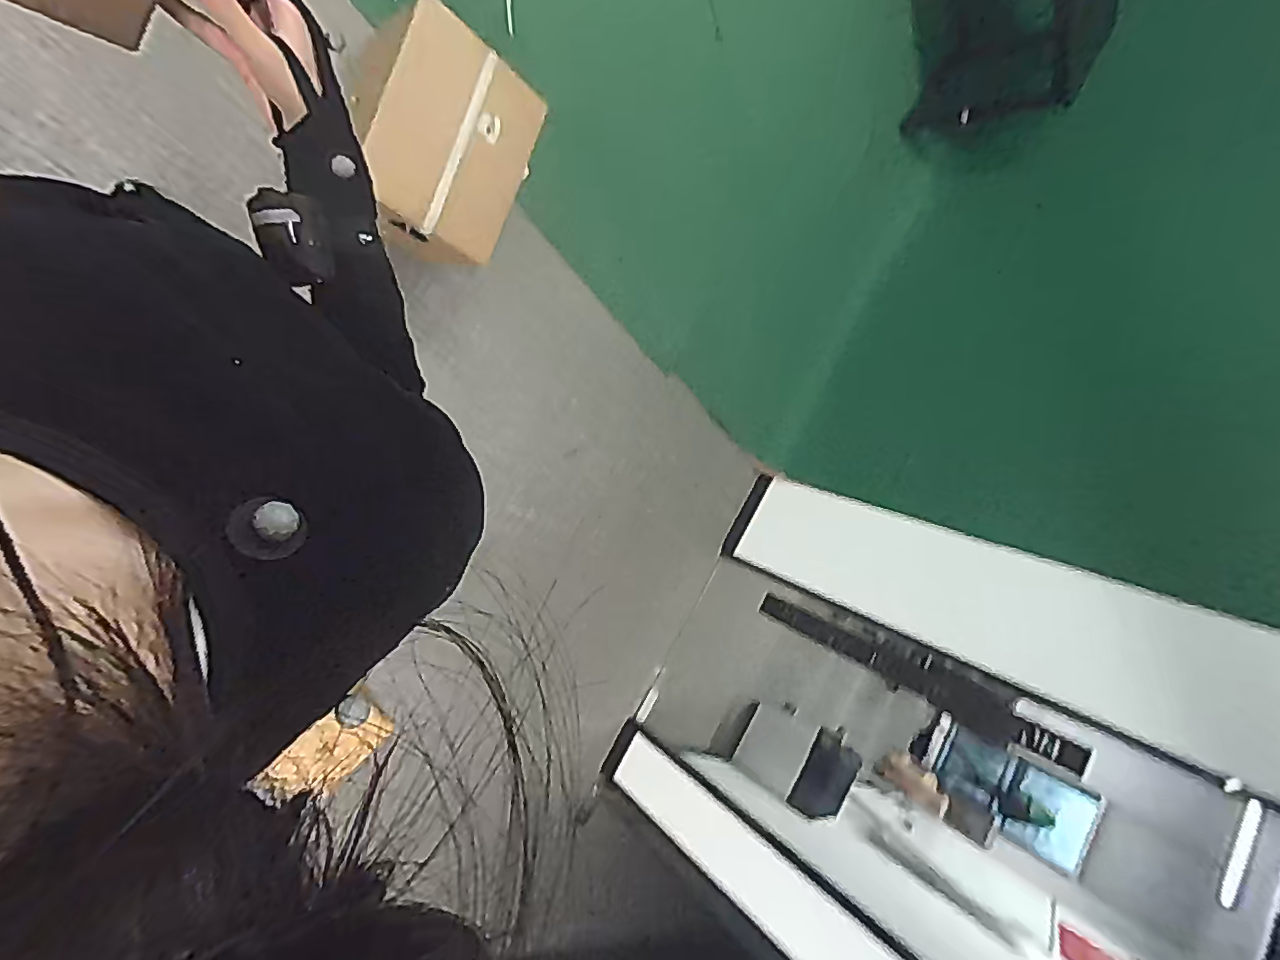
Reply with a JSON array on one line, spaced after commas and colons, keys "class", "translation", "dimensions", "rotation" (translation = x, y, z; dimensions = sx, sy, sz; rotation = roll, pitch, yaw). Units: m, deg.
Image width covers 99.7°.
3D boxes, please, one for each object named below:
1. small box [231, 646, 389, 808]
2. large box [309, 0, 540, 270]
[{"class": "small box", "translation": [-0.609, 0.446, 0.994], "dimensions": [0.179, 0.176, 0.168], "rotation": [-44, 133, -25]}, {"class": "large box", "translation": [-0.494, -0.745, 1.237], "dimensions": [0.320, 0.320, 0.408], "rotation": [21, 89, -48]}]
